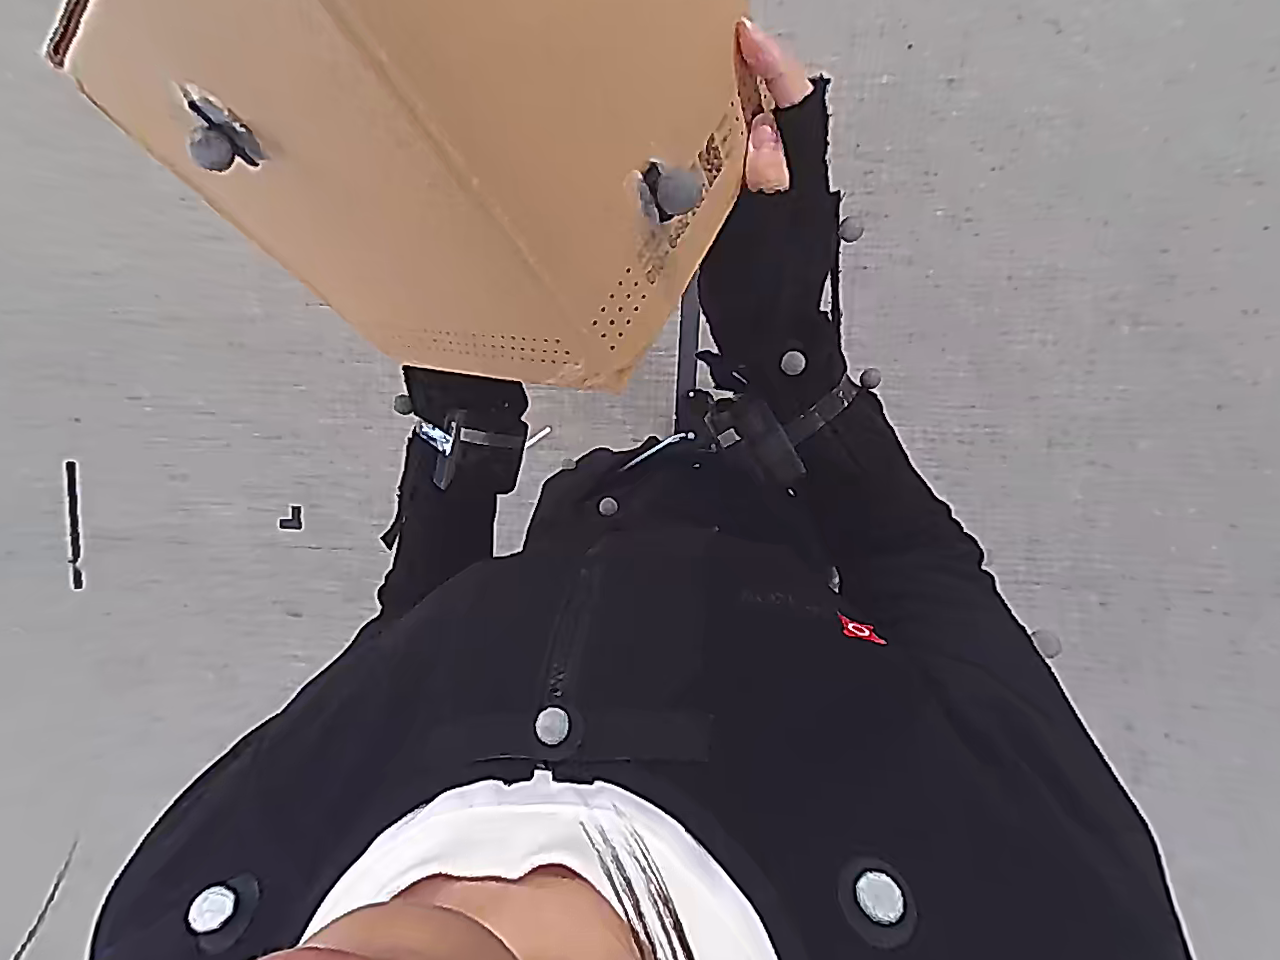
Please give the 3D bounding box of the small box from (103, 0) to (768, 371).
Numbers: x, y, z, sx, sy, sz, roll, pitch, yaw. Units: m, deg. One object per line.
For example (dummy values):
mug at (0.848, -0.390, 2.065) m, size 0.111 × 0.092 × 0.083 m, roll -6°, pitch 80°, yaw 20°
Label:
small box at (-0.069, -0.166, 0.242) m, size 0.179 × 0.176 × 0.168 m, roll 14°, pitch 68°, yaw 37°
